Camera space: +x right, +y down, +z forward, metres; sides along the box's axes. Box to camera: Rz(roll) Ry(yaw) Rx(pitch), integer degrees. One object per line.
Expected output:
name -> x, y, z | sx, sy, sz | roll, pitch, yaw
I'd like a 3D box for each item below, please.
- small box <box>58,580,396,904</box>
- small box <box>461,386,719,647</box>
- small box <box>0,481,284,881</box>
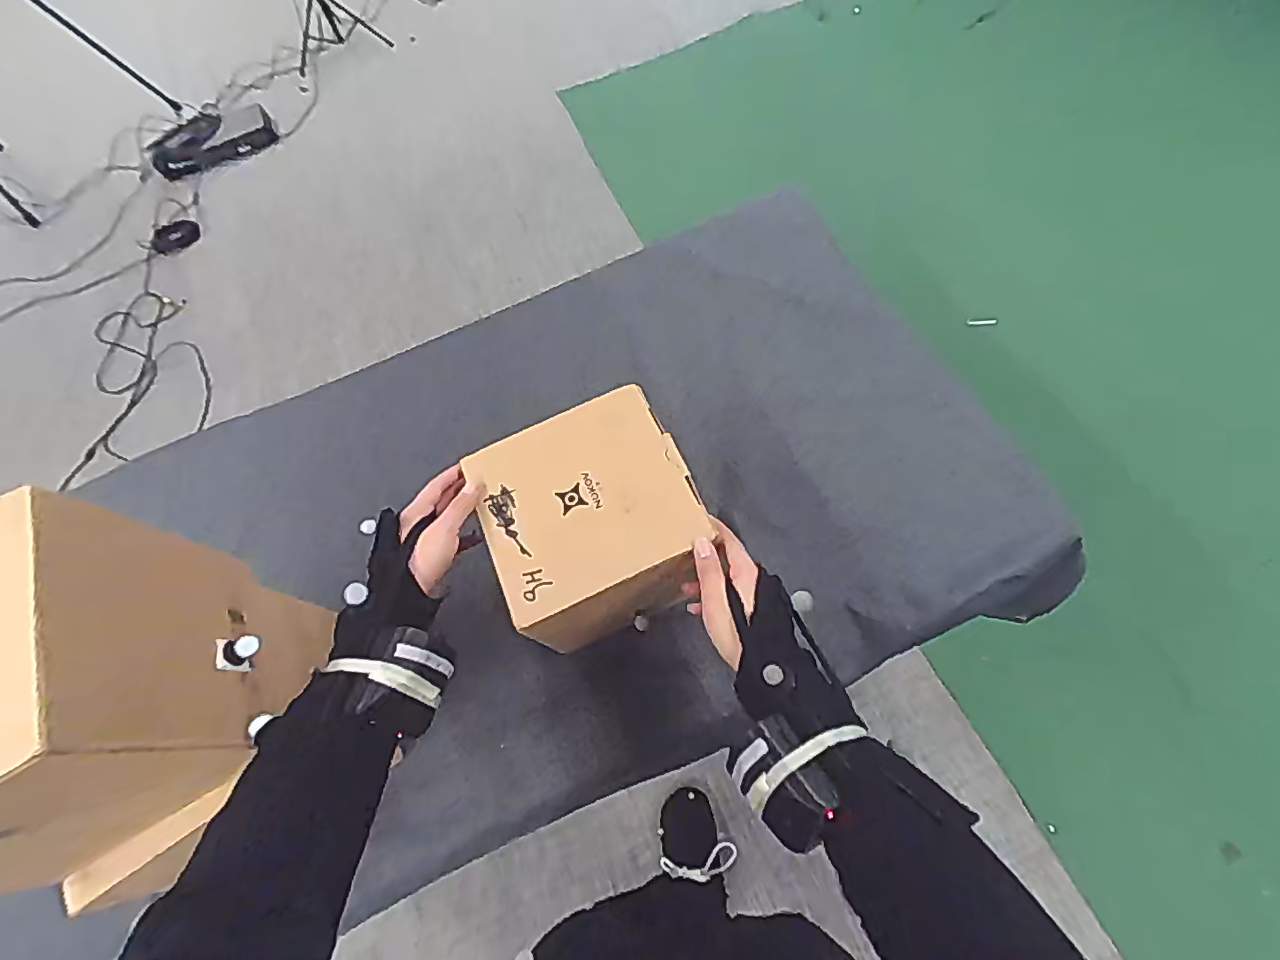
small box -> -0.357, 0.219, 0.484 | 0.168, 0.176, 0.179 | -34, 66, -9
small box -> -0.040, 0.046, 0.523 | 0.179, 0.176, 0.168 | -25, 67, -4
small box -> -0.379, 0.137, 0.345 | 0.179, 0.176, 0.168 | -30, 66, -8
